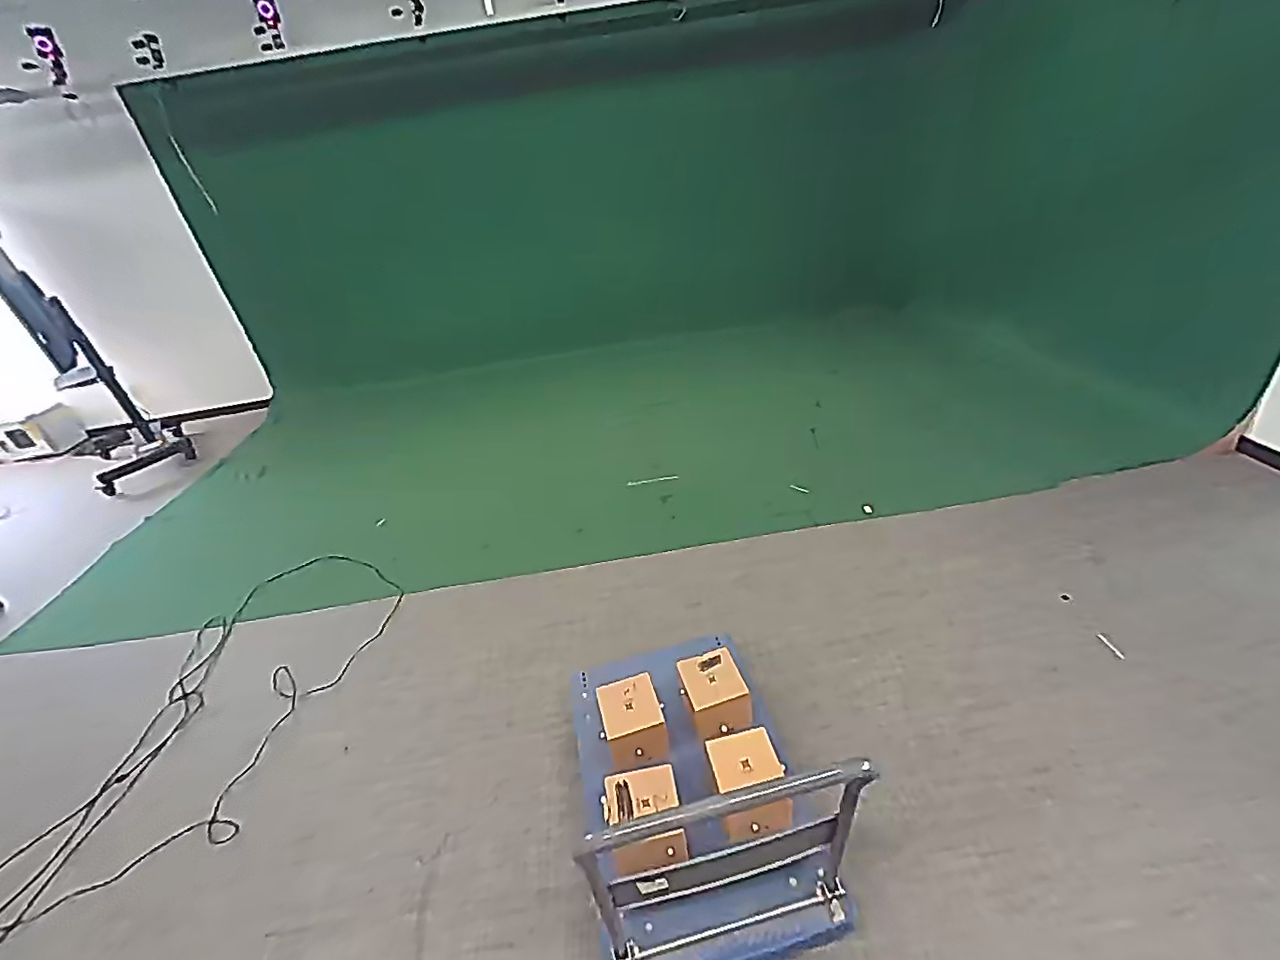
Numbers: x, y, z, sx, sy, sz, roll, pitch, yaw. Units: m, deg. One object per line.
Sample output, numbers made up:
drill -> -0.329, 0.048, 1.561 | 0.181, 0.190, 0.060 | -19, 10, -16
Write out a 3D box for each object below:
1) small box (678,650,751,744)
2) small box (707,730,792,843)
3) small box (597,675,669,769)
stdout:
small box -> 0.221, 0.647, 1.614 | 0.168, 0.176, 0.179 | -15, 34, -8
small box -> 0.276, 0.785, 1.388 | 0.168, 0.176, 0.179 | -12, 33, -5
small box -> -0.020, 0.710, 1.574 | 0.168, 0.176, 0.179 | -14, 33, -9
